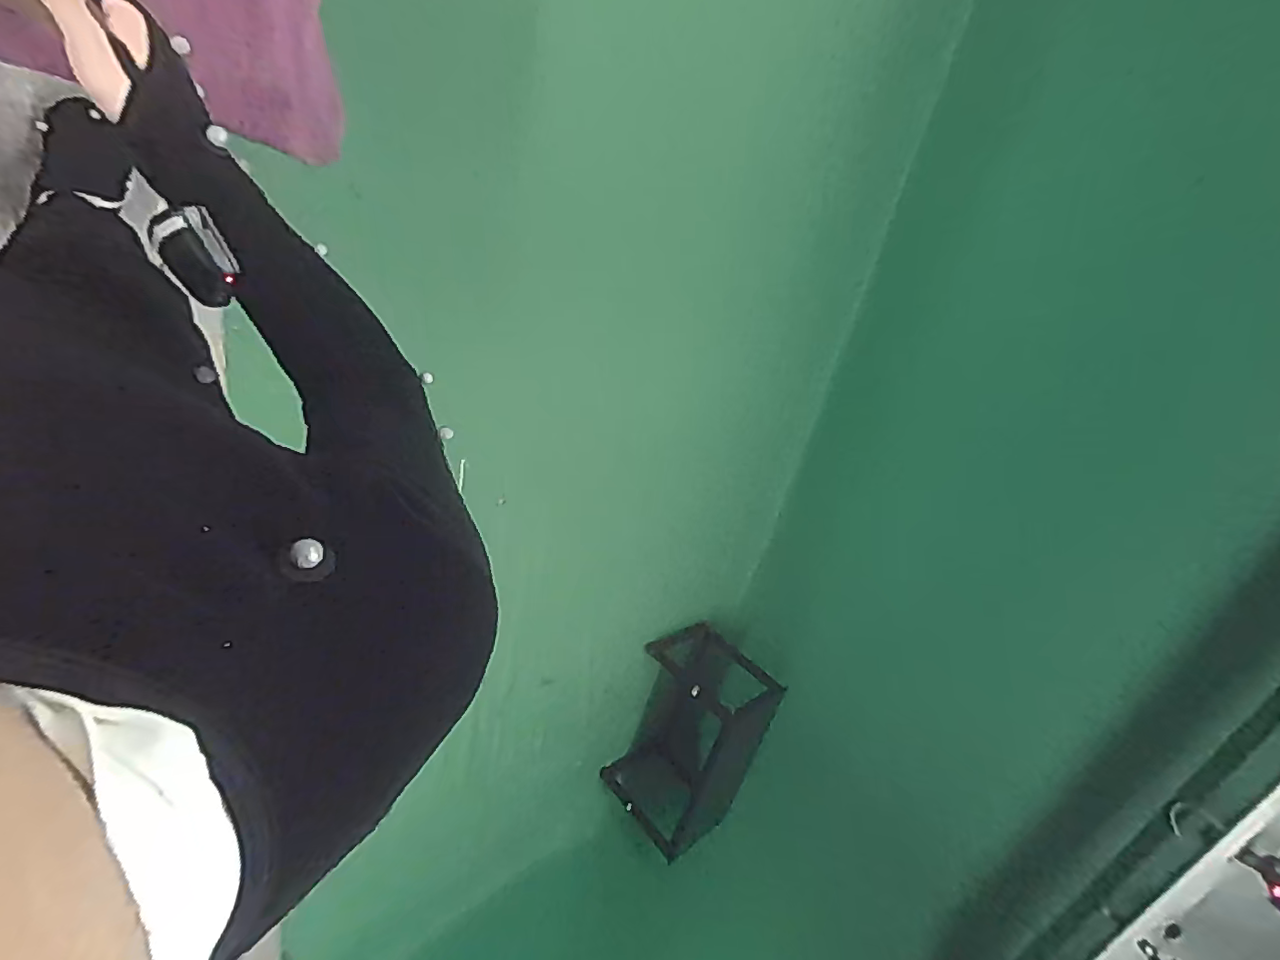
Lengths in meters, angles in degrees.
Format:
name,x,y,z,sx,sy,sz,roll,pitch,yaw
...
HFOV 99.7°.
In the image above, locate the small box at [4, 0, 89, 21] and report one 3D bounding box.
name,x,y,z,sx,sy,sz,roll,pitch,yaw
small box,-0.493,-0.459,0.363,0.168,0.176,0.179,-3,117,-46
